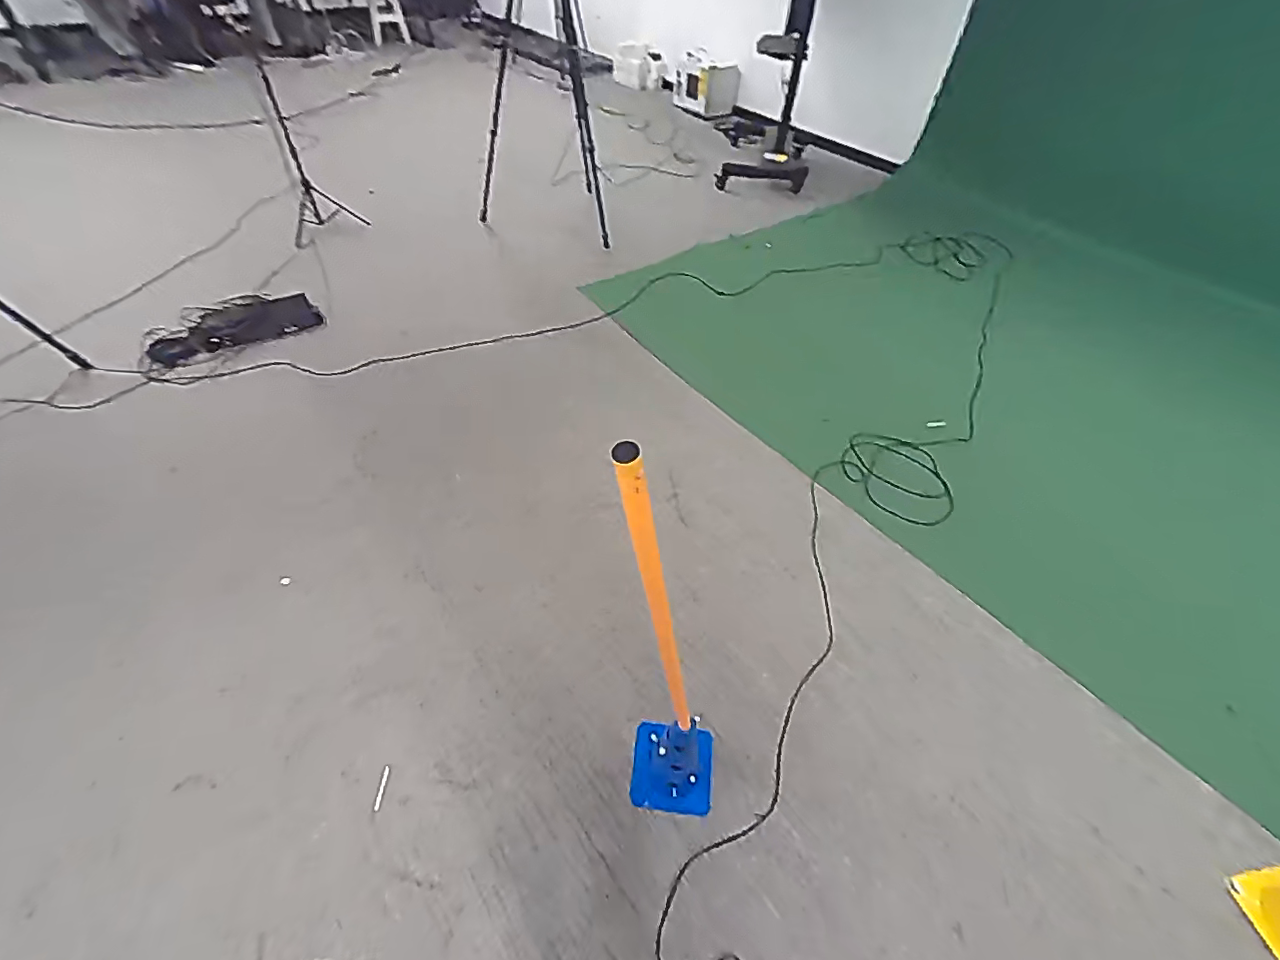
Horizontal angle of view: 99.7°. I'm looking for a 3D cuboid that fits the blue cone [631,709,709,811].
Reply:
[{"bbox_3d":[0.078,0.609,1.227,0.193,0.380,0.192,5,50,3],"label":"blue cone"}]
